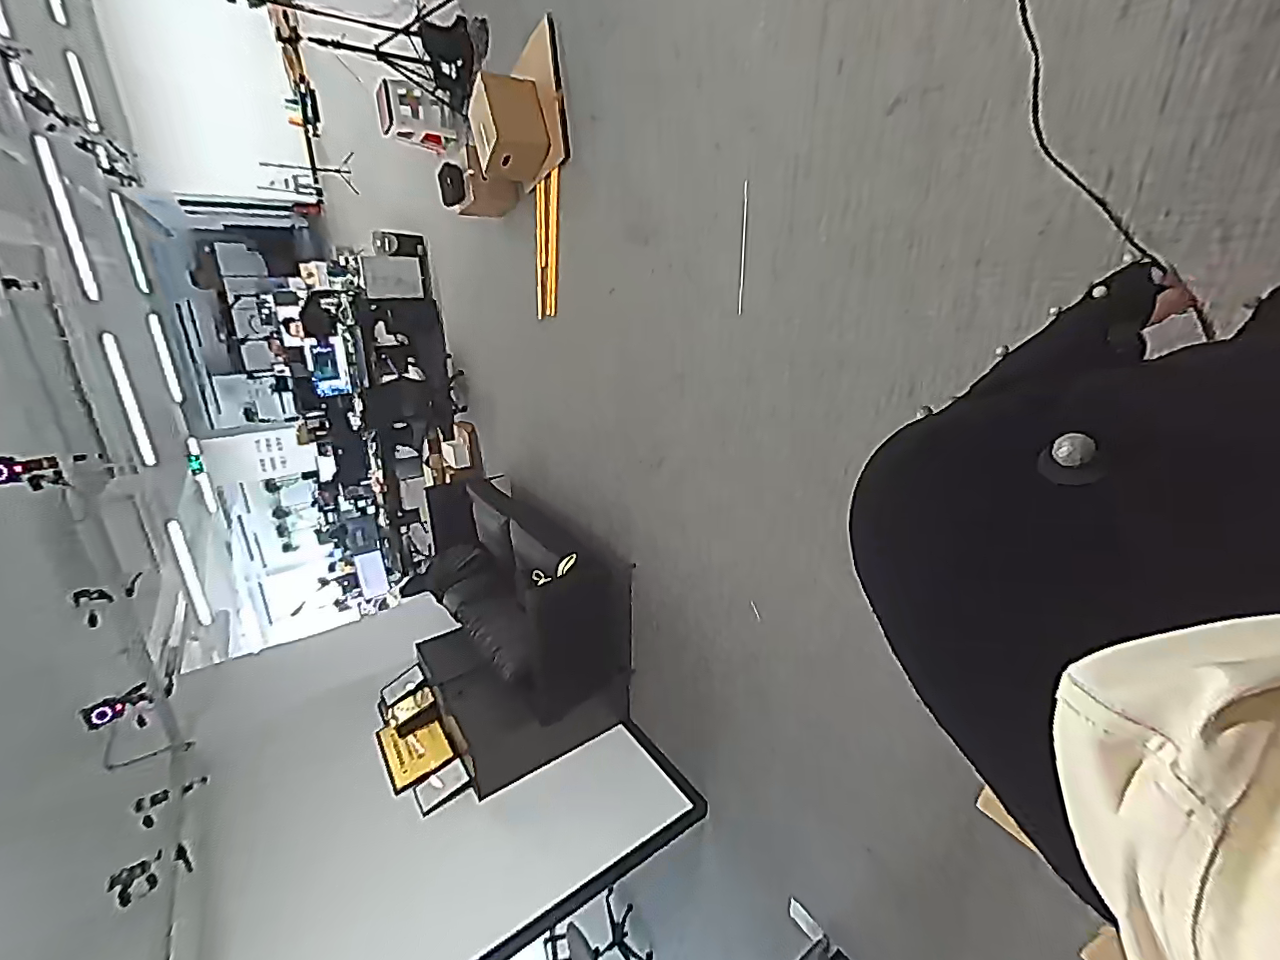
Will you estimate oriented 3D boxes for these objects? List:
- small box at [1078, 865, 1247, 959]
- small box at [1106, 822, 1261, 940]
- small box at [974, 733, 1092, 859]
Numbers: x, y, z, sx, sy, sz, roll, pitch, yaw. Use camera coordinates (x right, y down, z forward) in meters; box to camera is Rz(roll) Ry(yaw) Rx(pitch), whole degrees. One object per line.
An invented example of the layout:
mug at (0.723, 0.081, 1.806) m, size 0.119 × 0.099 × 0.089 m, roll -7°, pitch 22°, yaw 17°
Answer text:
small box at (1.003, 0.902, 1.040) m, size 0.168 × 0.176 × 0.179 m, roll 36°, pitch 132°, yaw 46°
small box at (1.137, 0.876, 1.133) m, size 0.168 × 0.176 × 0.179 m, roll 33°, pitch 129°, yaw 48°
small box at (0.972, 0.770, 1.336) m, size 0.168 × 0.176 × 0.179 m, roll 33°, pitch 129°, yaw 45°
